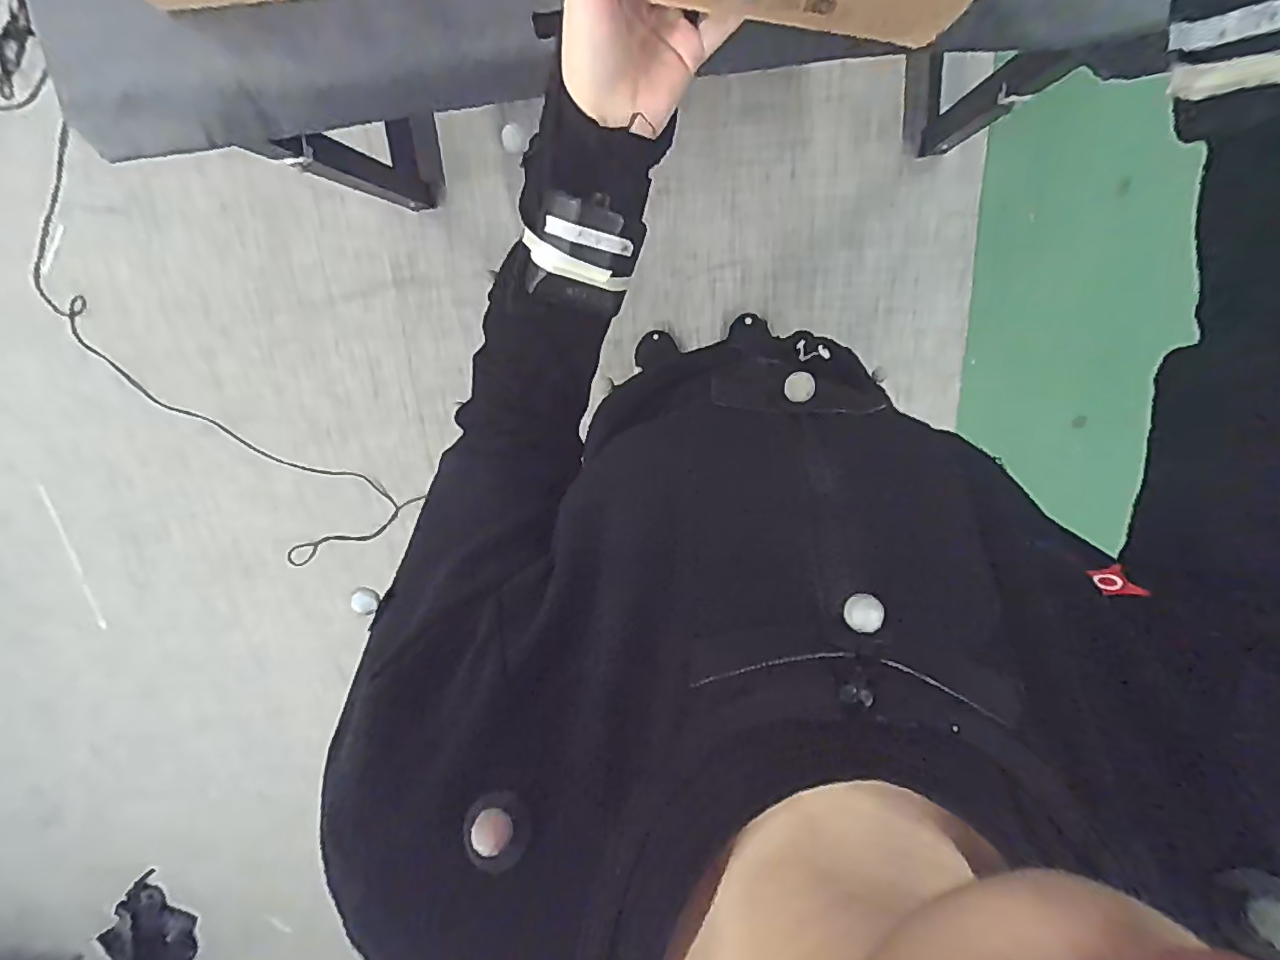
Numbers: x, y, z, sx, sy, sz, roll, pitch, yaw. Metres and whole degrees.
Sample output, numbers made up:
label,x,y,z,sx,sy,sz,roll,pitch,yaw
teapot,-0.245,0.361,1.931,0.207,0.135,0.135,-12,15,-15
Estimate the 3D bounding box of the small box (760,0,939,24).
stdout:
label,x,y,z,sx,sy,sz,roll,pitch,yaw
small box,0.072,-0.289,0.167,0.168,0.176,0.179,10,114,2
